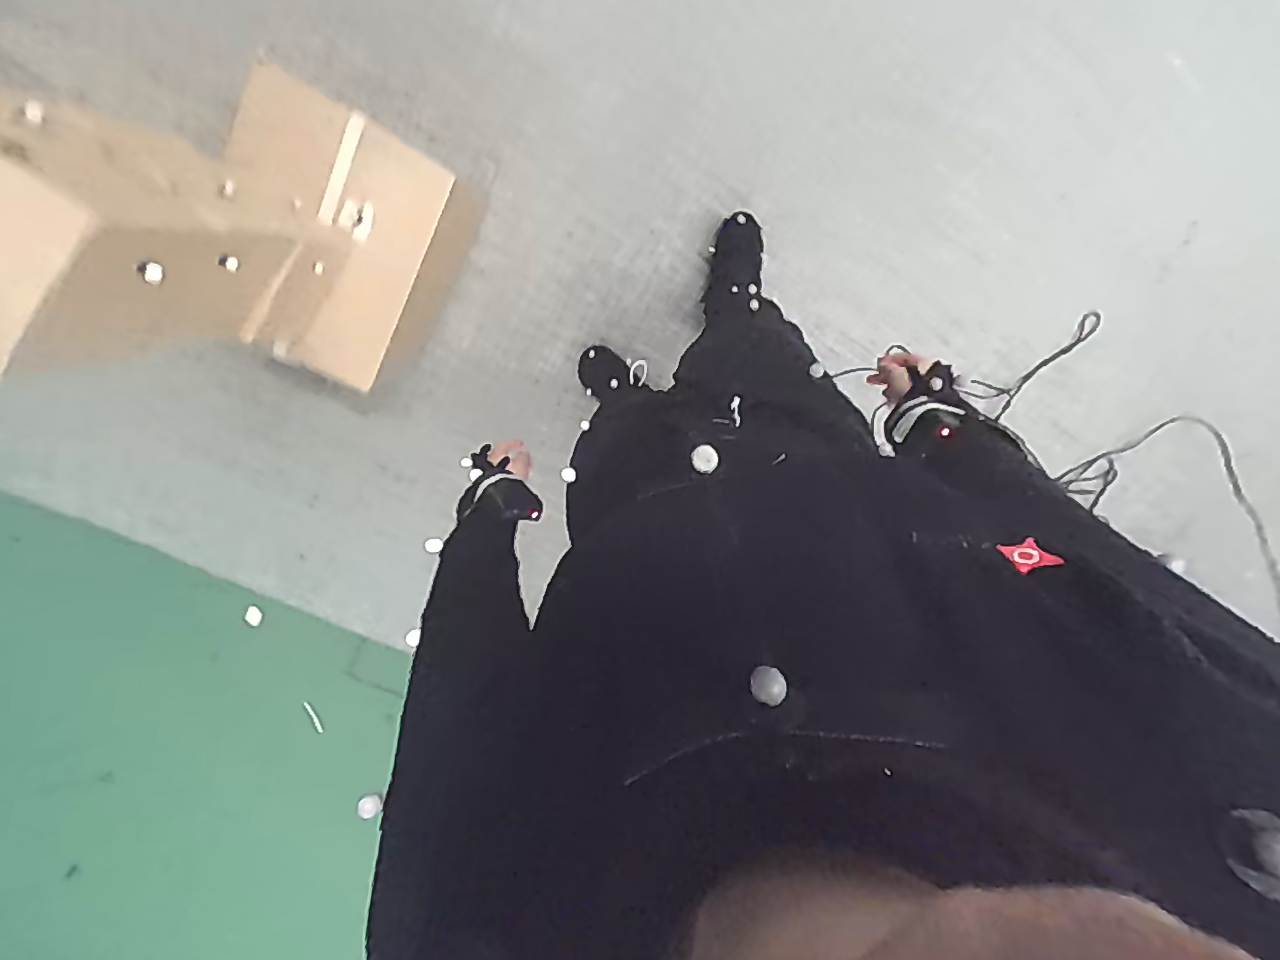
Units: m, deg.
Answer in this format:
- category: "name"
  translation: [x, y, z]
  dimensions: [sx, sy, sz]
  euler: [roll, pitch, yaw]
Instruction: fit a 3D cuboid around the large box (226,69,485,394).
- category: "large box"
  translation: [-0.537, -0.428, 1.025]
  dimensions: [0.320, 0.320, 0.408]
  euler: [26, 105, -15]
